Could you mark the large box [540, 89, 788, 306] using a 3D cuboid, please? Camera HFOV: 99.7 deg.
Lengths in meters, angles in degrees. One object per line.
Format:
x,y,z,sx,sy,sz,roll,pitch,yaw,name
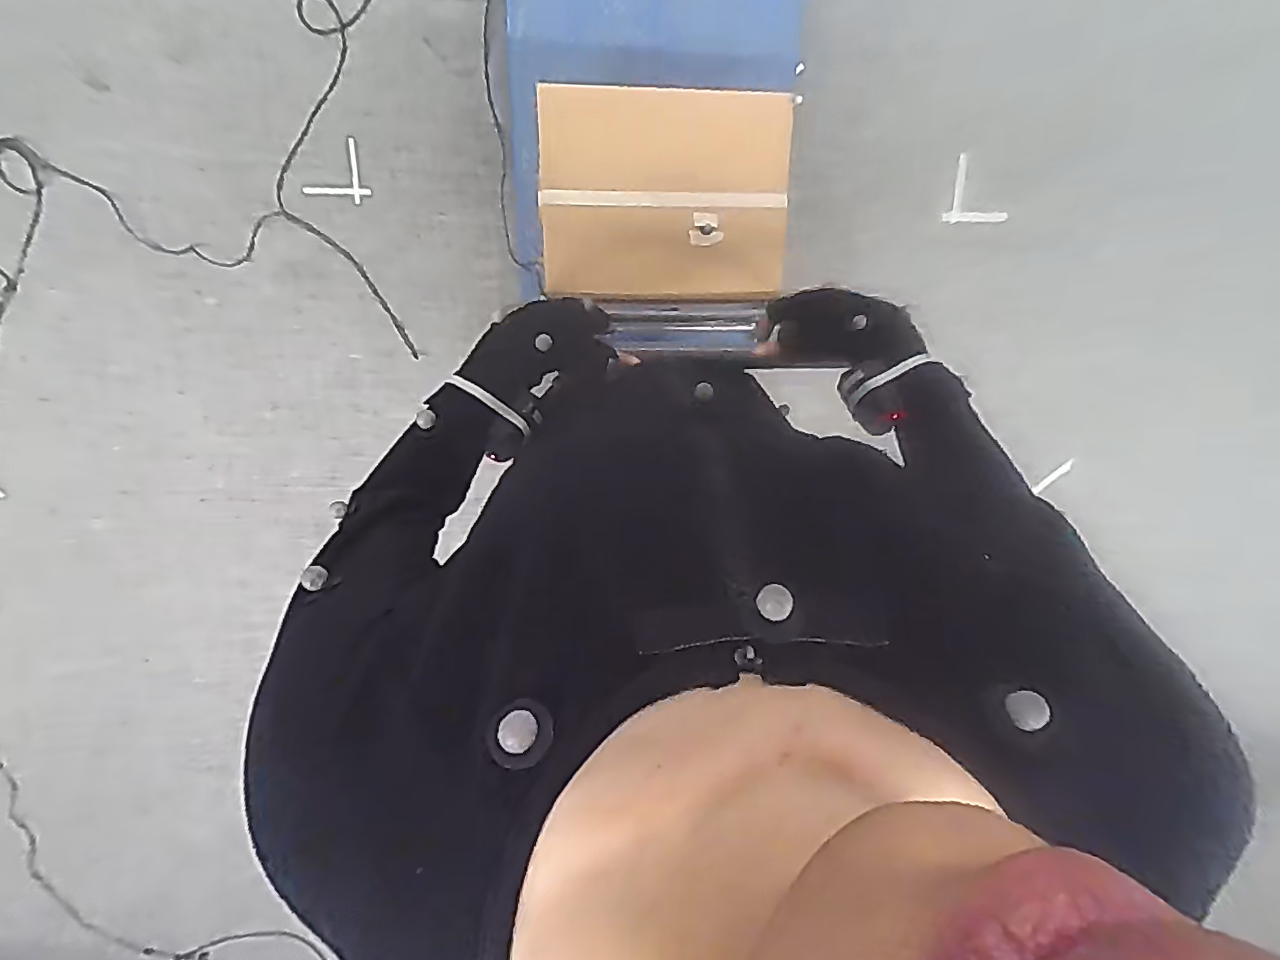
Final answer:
0.030,-0.507,1.038,0.408,0.320,0.320,-2,106,-5,large box
